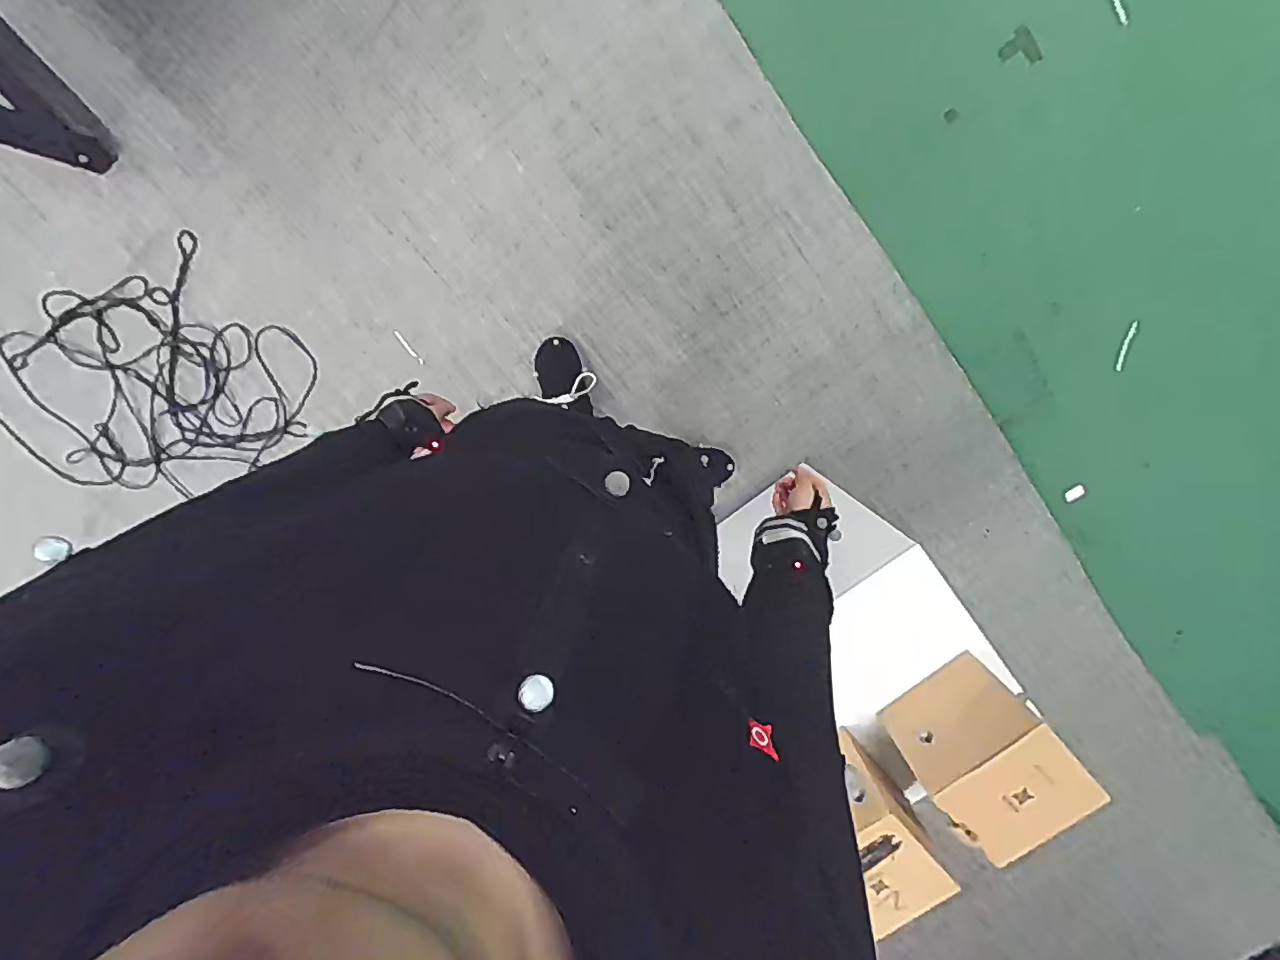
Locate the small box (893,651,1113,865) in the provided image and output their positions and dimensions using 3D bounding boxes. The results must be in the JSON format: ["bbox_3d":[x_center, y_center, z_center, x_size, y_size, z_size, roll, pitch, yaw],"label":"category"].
[{"bbox_3d":[0.497,0.387,0.776,0.179,0.176,0.168,-42,102,9],"label":"small box"}]
